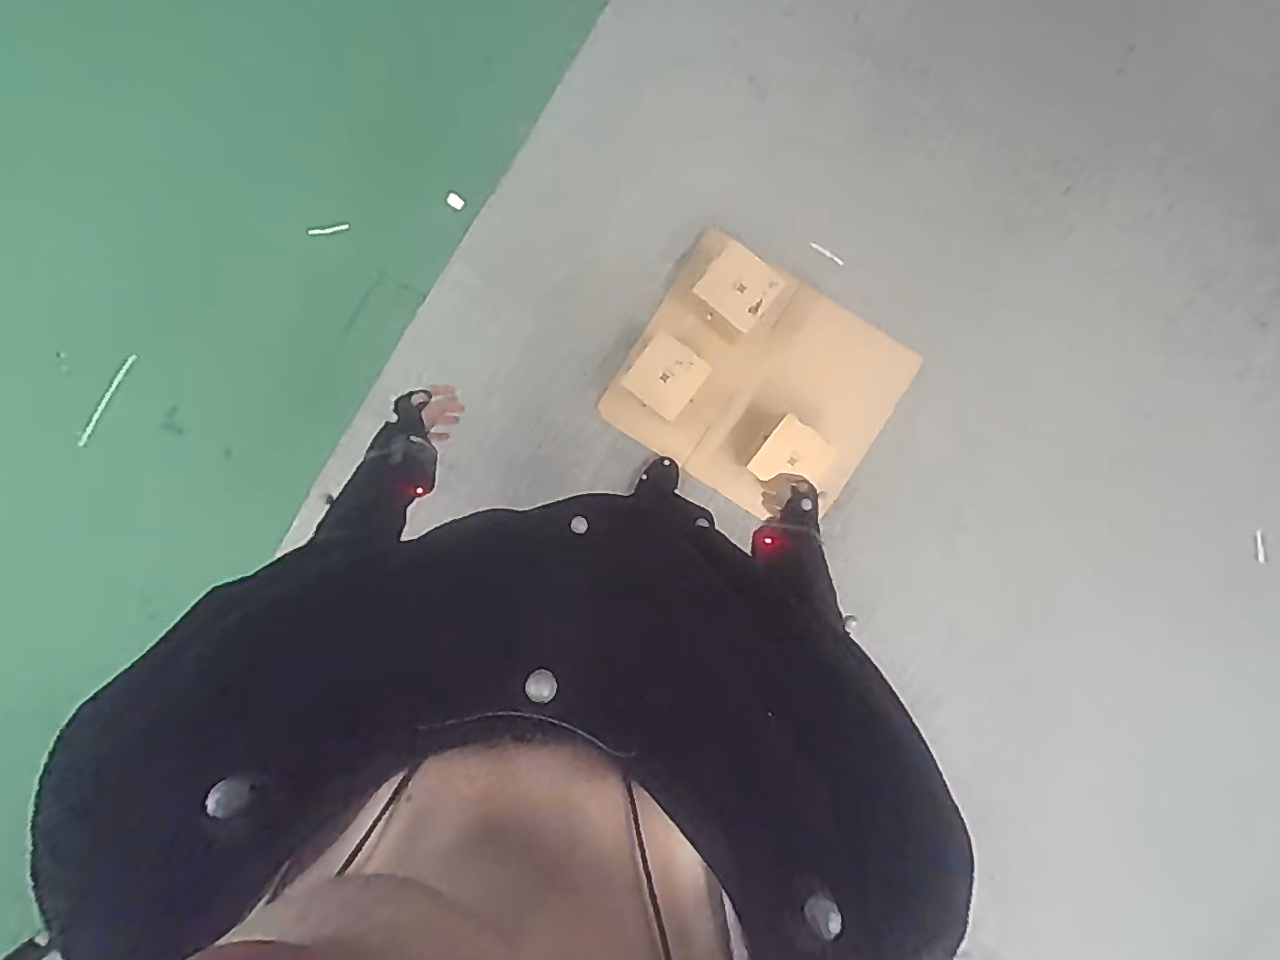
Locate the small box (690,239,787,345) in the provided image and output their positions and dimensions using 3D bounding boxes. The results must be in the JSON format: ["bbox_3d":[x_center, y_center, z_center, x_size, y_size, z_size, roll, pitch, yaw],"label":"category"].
[{"bbox_3d":[0.244,-0.474,1.396,0.179,0.176,0.168,39,93,0],"label":"small box"}]

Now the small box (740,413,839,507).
[{"bbox_3d":[0.376,-0.052,1.405,0.168,0.176,0.179,37,92,0],"label":"small box"}]

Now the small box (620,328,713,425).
[{"bbox_3d":[0.068,-0.259,1.408,0.168,0.176,0.179,38,92,-1],"label":"small box"}]
